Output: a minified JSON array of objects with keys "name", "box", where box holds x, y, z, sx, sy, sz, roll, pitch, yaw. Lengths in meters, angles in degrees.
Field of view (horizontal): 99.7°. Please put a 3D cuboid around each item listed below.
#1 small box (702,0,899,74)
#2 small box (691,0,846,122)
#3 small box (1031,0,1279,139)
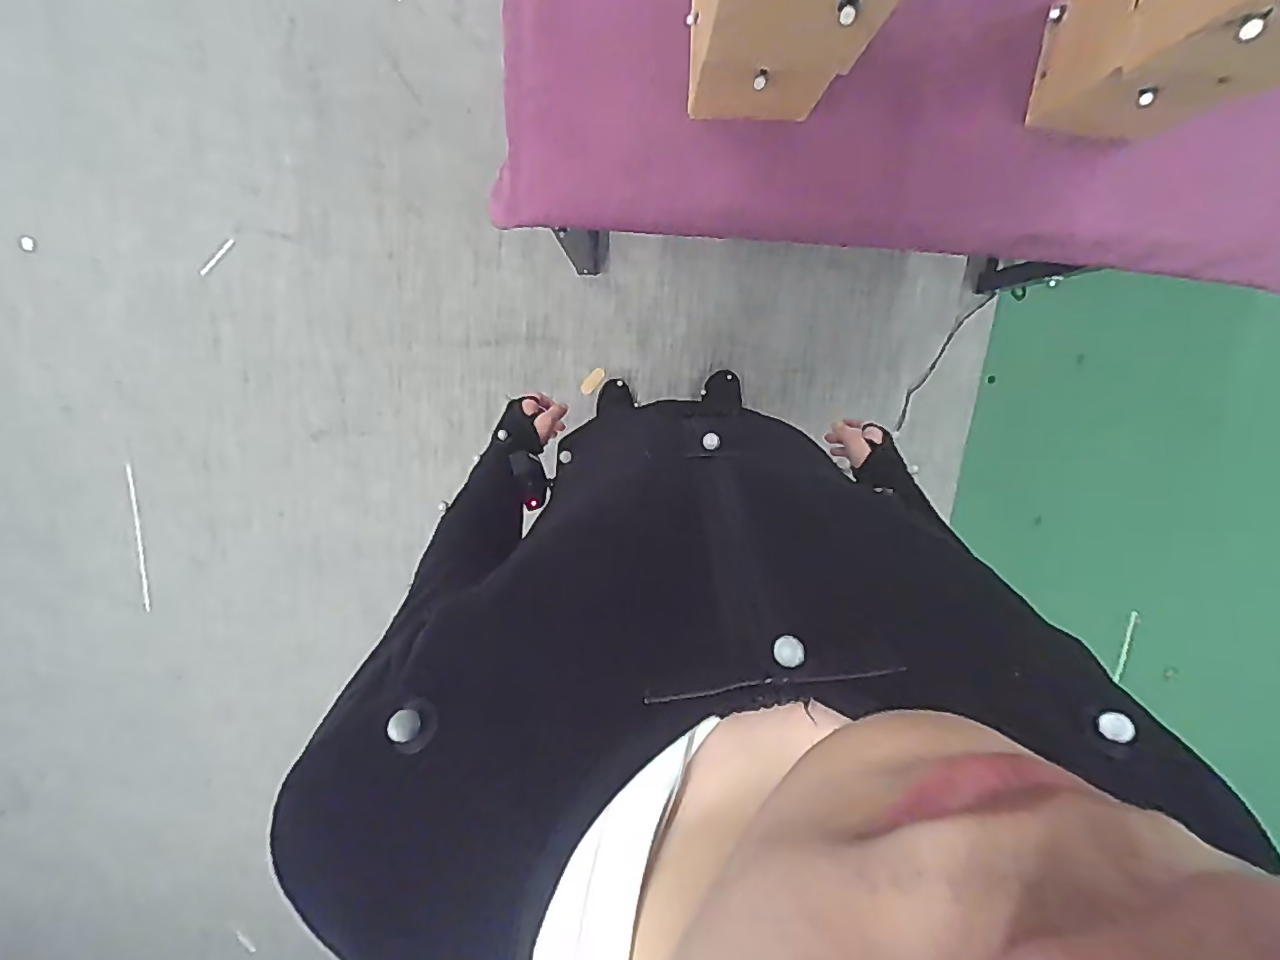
[{"name":"small box","box":[0.165,-0.548,0.550,0.179,0.176,0.168,3,101,0]},{"name":"small box","box":[0.165,-0.596,0.708,0.179,0.176,0.168,2,102,1]},{"name":"small box","box":[0.662,-0.574,0.705,0.179,0.176,0.168,6,101,-1]}]
